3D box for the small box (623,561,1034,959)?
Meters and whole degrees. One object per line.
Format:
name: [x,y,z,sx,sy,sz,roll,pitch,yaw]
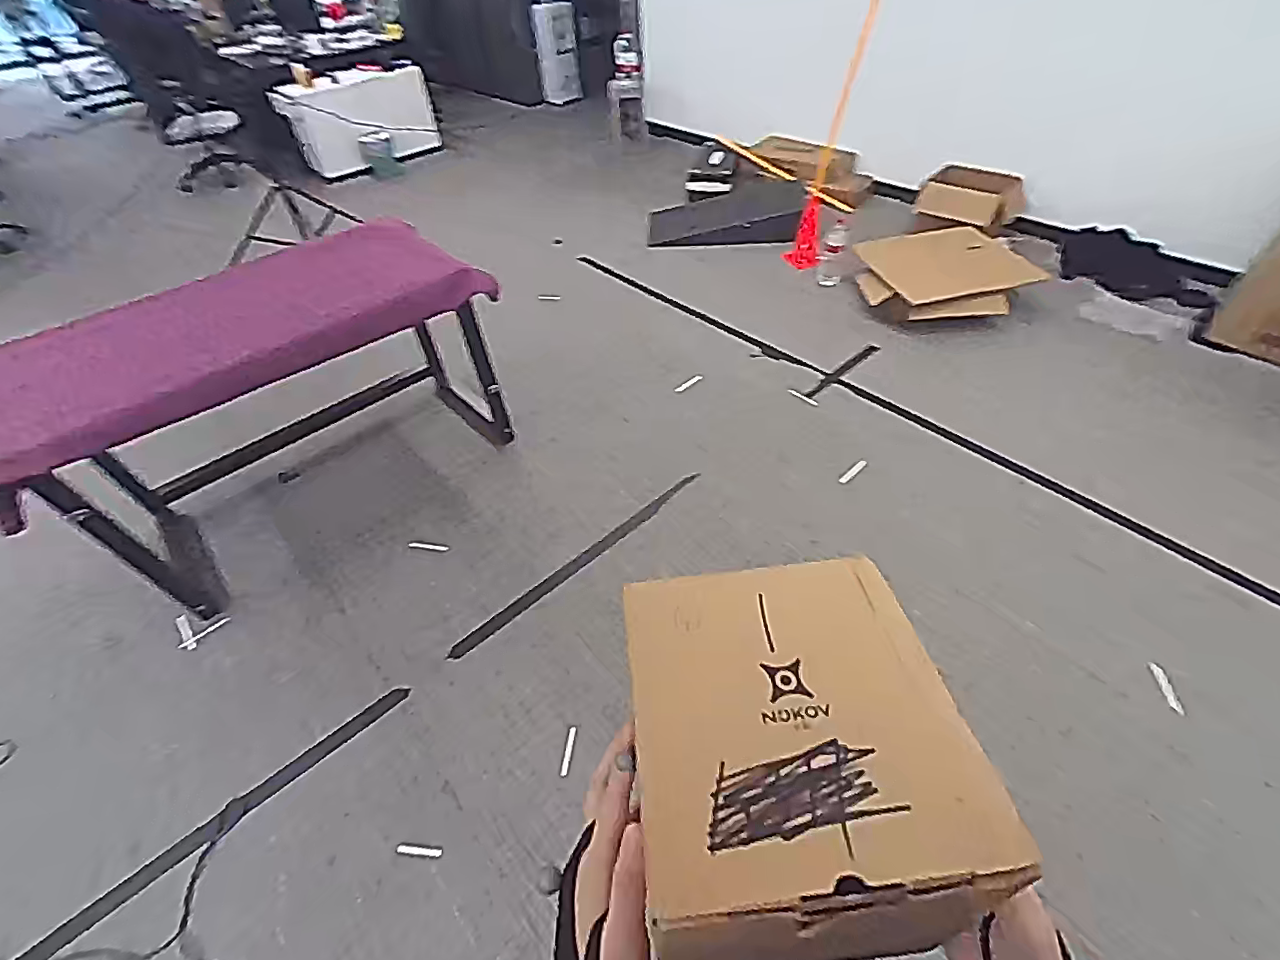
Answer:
small box: [0.083,0.179,0.338,0.168,0.176,0.179,-7,40,-3]
